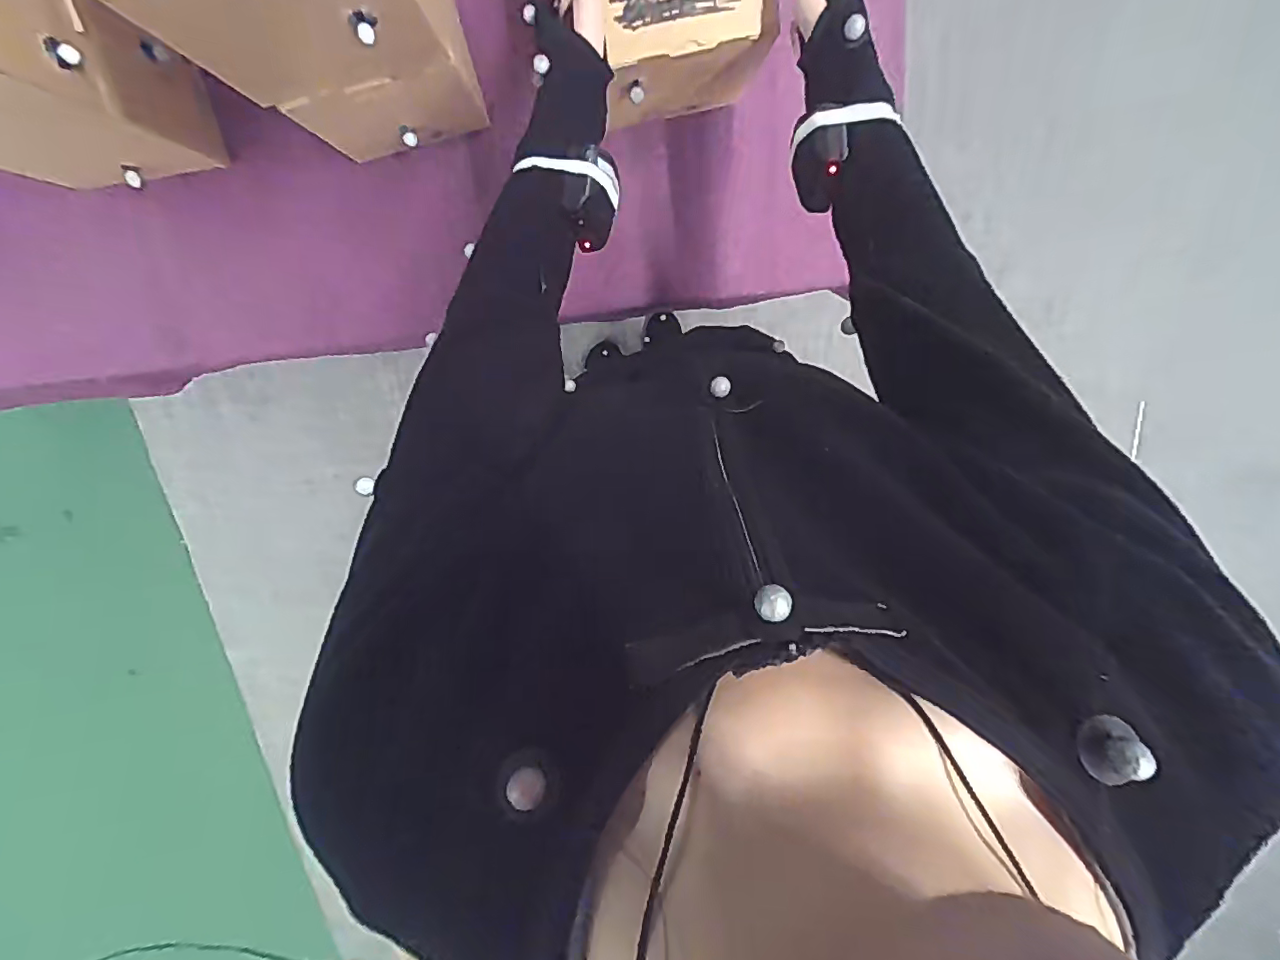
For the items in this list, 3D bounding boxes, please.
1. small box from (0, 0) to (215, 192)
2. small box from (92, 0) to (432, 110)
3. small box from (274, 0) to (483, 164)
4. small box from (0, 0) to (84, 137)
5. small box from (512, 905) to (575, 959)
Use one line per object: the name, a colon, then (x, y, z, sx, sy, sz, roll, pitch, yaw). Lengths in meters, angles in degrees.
small box: (-0.571, -0.401, 0.533, 0.179, 0.176, 0.168, -9, 106, -1)
small box: (-0.267, -0.399, 0.385, 0.179, 0.176, 0.168, -12, 106, 0)
small box: (-0.275, -0.449, 0.540, 0.168, 0.176, 0.179, -14, 107, 1)
small box: (-0.559, -0.356, 0.375, 0.179, 0.176, 0.168, -9, 107, 0)
small box: (-0.322, 1.590, 1.834, 0.179, 0.176, 0.168, -11, 105, 1)
